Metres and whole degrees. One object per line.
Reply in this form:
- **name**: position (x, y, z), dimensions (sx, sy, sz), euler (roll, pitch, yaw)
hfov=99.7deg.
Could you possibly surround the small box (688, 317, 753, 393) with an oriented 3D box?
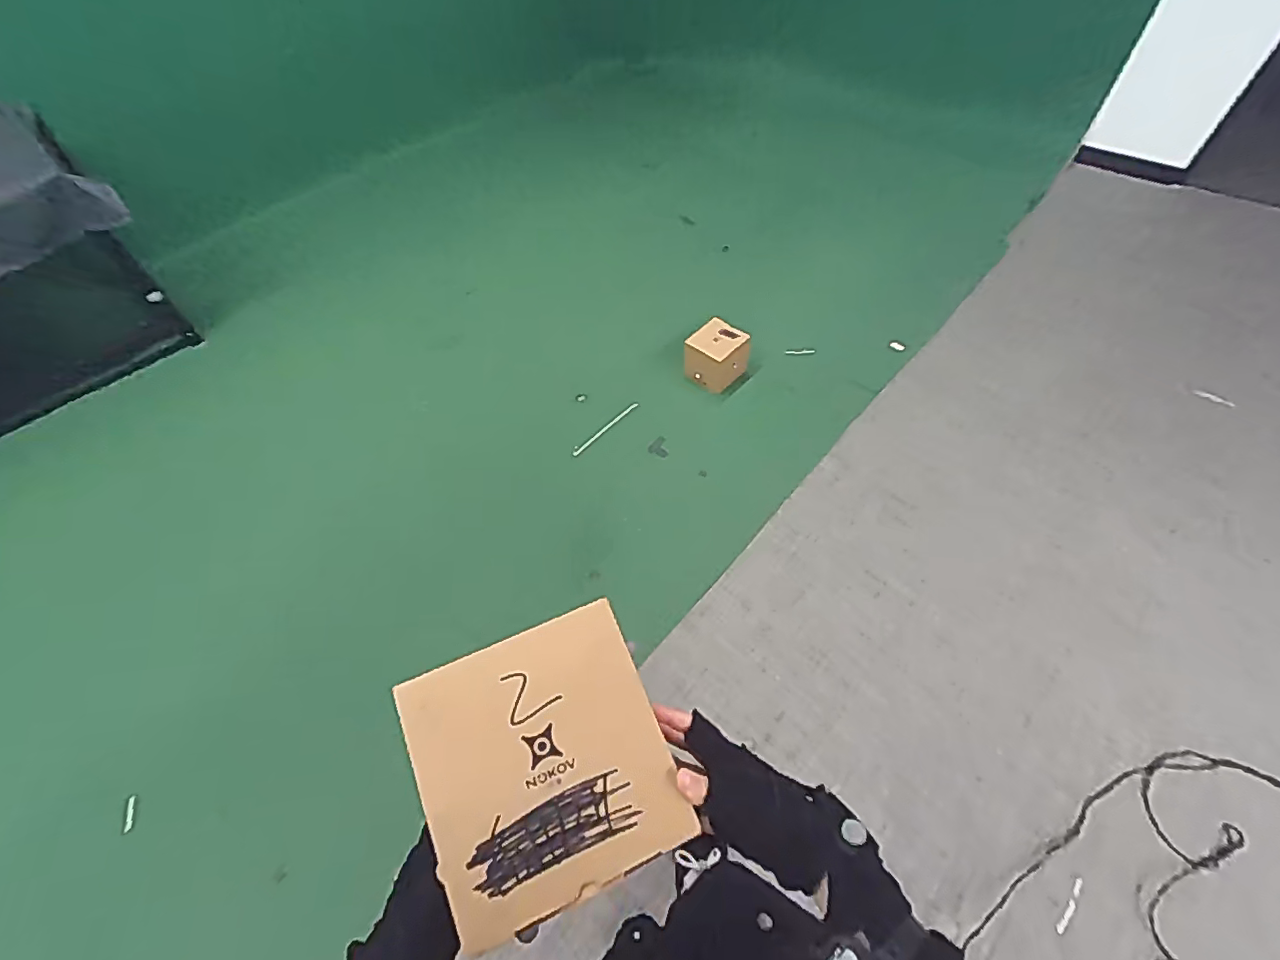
- **small box**: position (0.286, -0.453, 1.971), dimensions (0.168, 0.176, 0.179), euler (37, 66, 26)
